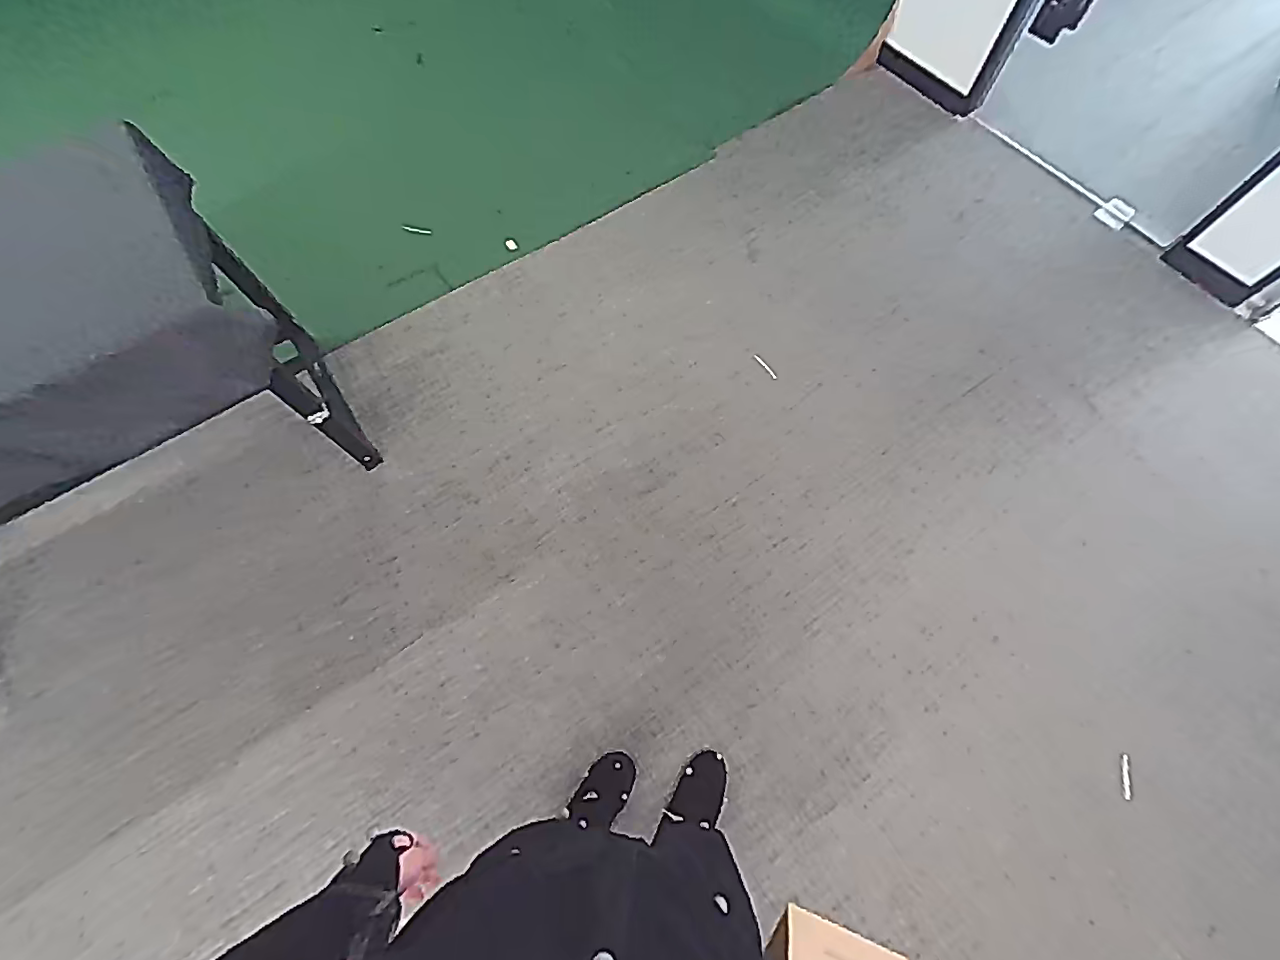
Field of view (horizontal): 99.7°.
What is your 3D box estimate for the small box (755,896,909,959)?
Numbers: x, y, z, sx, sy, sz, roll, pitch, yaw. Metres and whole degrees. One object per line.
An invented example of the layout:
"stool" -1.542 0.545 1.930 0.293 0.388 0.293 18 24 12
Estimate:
"small box" 0.228 0.681 0.660 0.168 0.179 0.176 20 107 10
